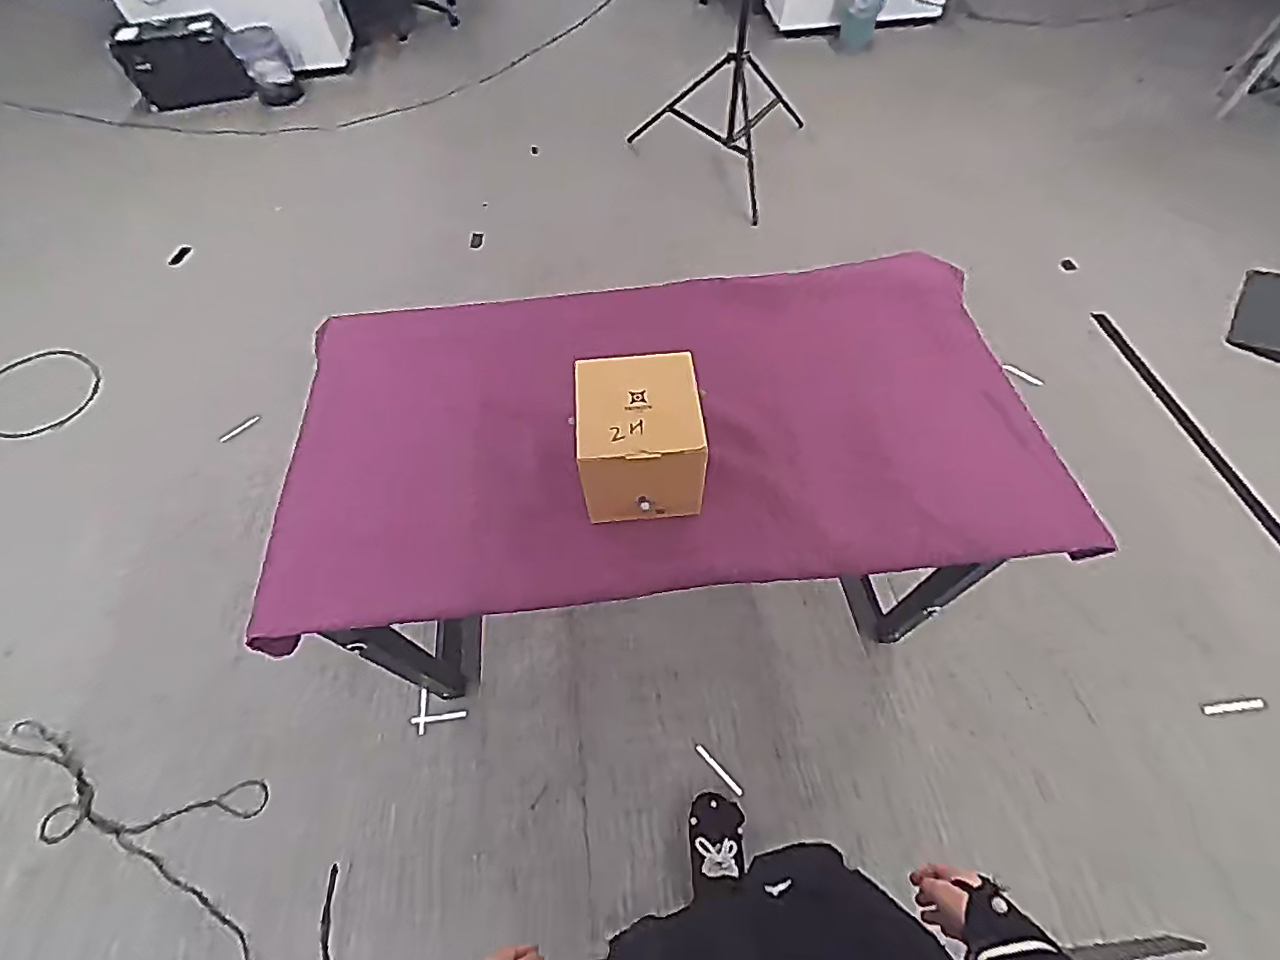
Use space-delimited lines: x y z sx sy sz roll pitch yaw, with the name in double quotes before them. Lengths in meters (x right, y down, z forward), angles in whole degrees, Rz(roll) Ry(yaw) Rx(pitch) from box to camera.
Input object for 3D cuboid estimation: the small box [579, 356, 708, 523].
"small box" 0.001 -0.056 0.790 0.168 0.176 0.179 -5 57 0
